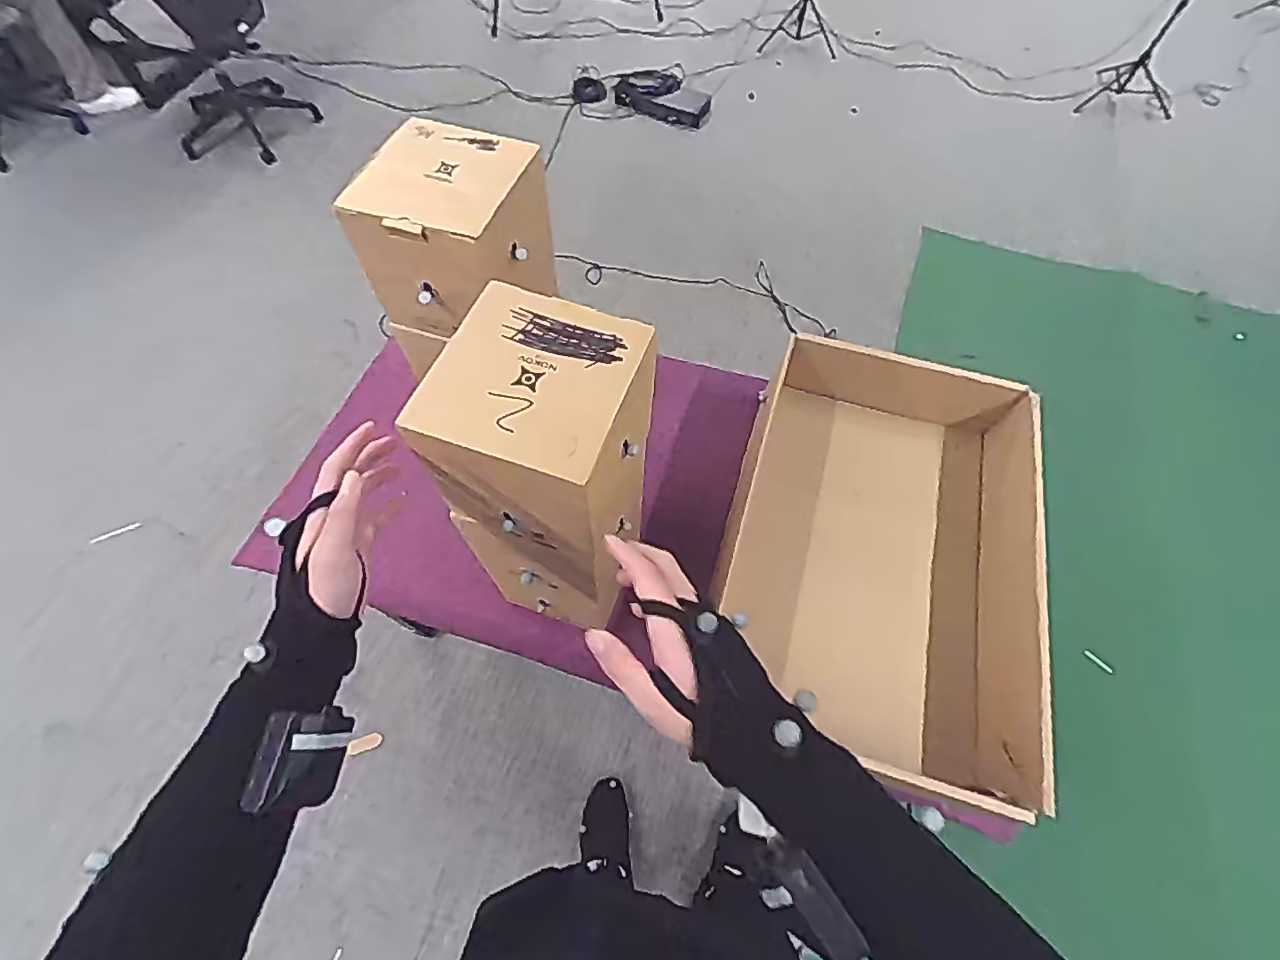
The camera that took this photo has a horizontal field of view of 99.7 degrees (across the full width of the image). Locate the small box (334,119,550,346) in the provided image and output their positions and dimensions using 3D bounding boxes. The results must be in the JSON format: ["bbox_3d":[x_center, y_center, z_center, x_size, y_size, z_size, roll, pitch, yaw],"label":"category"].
[{"bbox_3d":[-0.219,-0.292,0.659,0.168,0.176,0.179,16,63,6],"label":"small box"}]

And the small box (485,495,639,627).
[{"bbox_3d":[-0.105,0.104,0.818,0.168,0.176,0.179,18,63,7],"label":"small box"}]

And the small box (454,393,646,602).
[{"bbox_3d":[-0.100,0.028,0.673,0.168,0.176,0.179,17,63,8],"label":"small box"}]

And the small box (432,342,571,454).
[{"bbox_3d":[-0.227,-0.141,0.947,0.168,0.176,0.179,17,63,7],"label":"small box"}]

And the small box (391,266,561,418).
[{"bbox_3d":[-0.225,-0.212,0.802,0.168,0.176,0.179,17,63,7],"label":"small box"}]
